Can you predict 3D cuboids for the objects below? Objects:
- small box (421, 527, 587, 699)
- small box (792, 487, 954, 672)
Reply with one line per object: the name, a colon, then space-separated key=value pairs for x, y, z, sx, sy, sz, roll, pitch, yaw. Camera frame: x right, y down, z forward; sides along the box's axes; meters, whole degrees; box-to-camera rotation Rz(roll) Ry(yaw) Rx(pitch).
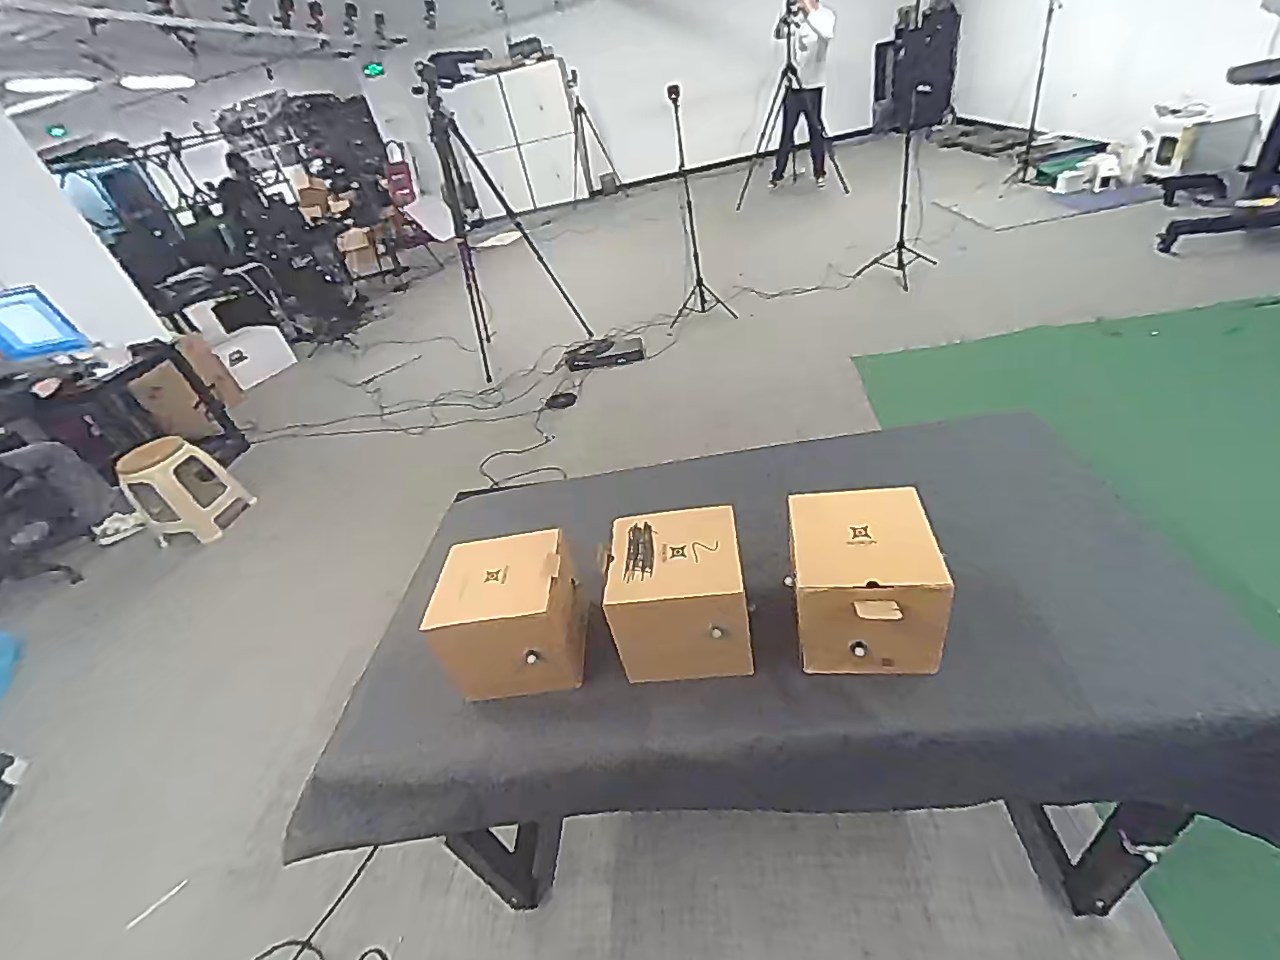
small box: x=-0.183 y=0.196 z=0.795 sx=0.179 sy=0.176 sz=0.168 roll=-11 pitch=34 yaw=6
small box: x=0.292 y=0.130 z=0.722 sx=0.168 sy=0.176 sz=0.179 roll=-4 pitch=37 yaw=13
